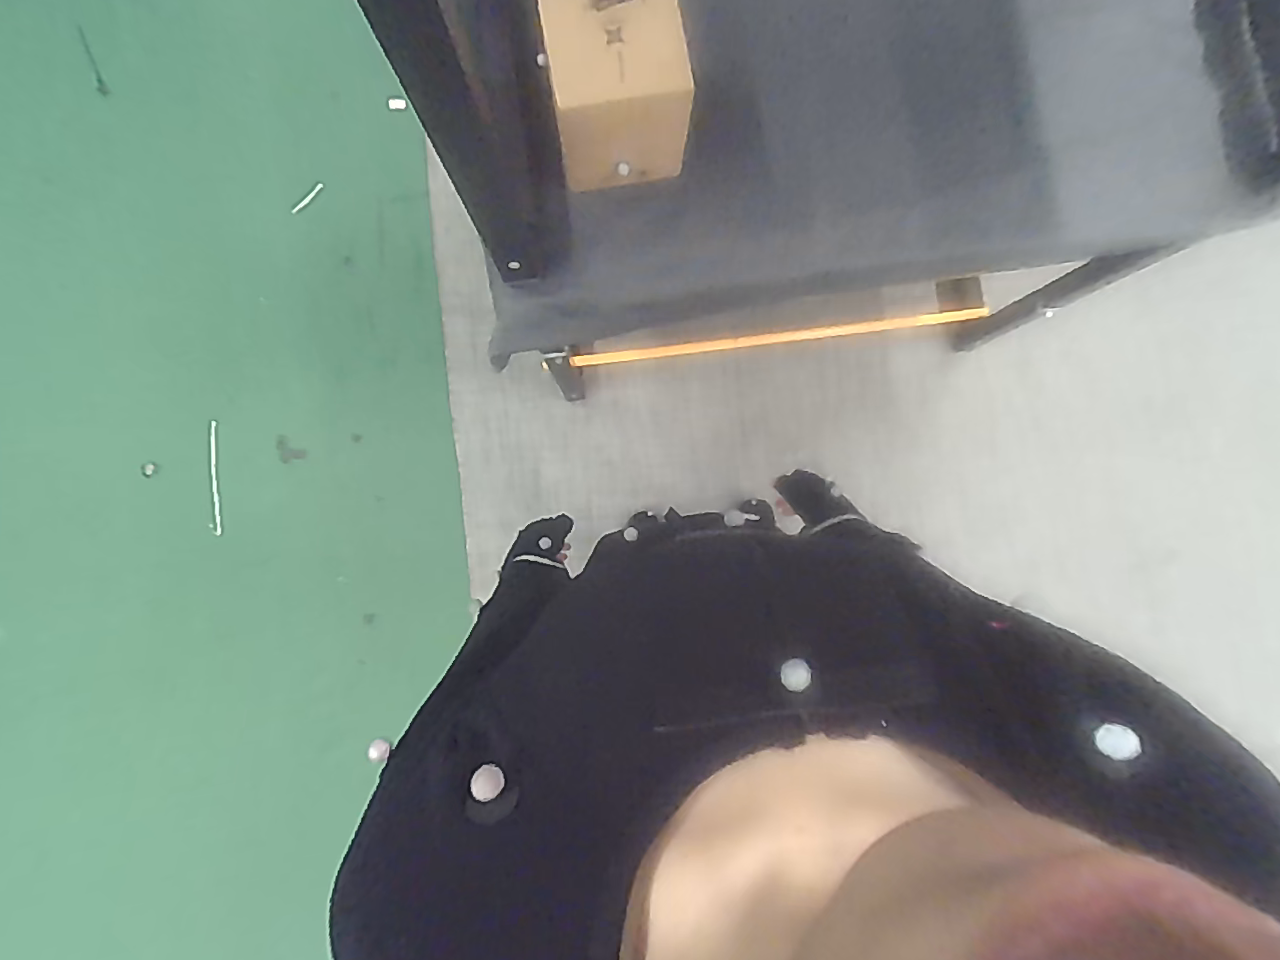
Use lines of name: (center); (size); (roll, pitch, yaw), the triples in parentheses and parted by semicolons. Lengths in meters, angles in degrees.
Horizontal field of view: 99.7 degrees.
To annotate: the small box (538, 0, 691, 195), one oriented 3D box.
small box: (-0.036, -0.519, 0.721); (0.168, 0.176, 0.179); (-10, 86, -2)
